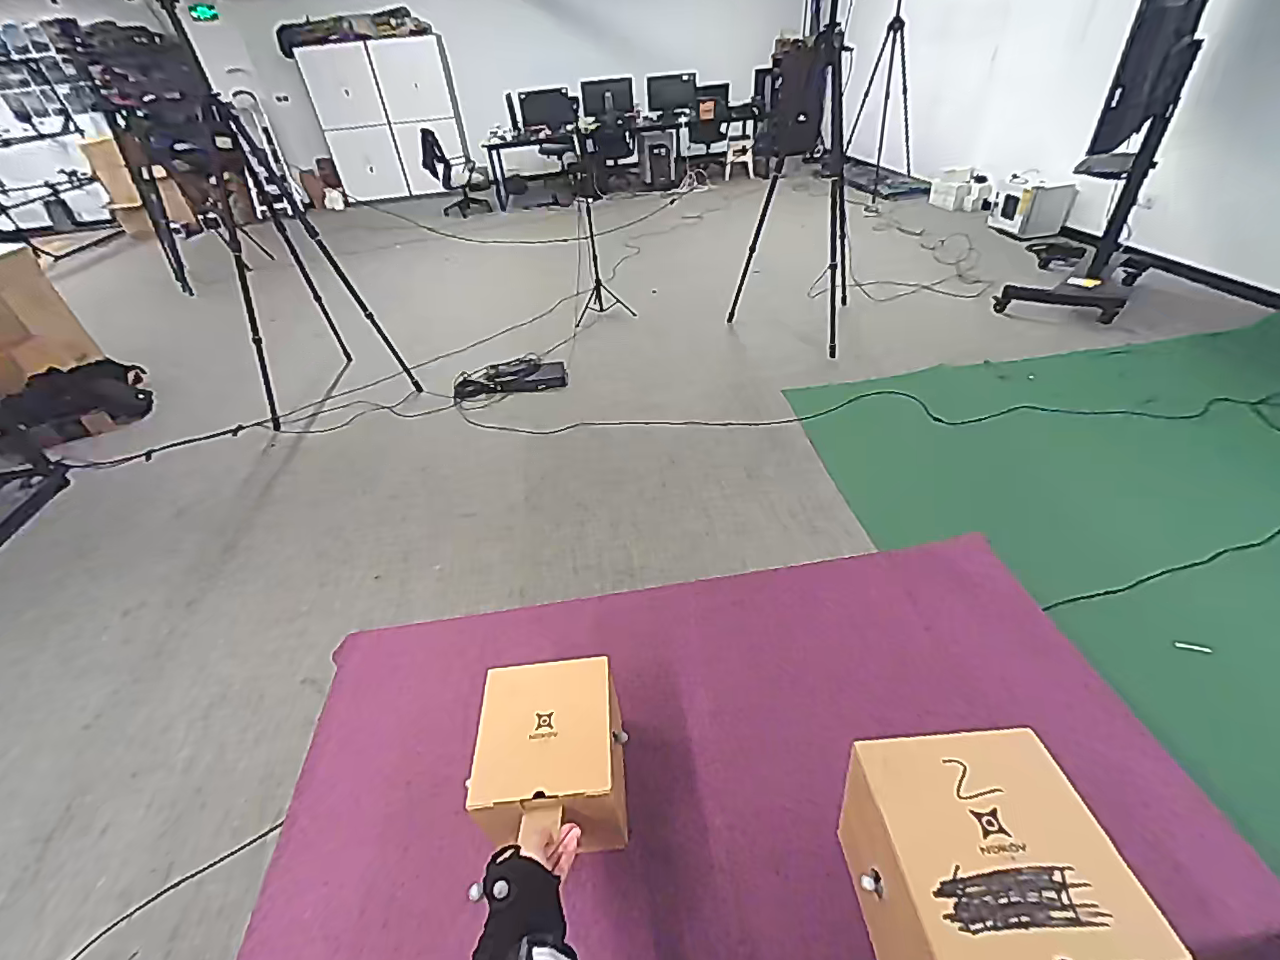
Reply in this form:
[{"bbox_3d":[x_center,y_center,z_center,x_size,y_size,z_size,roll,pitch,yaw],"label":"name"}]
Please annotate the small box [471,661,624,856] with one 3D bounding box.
[{"bbox_3d":[-0.112,0.374,0.731,0.168,0.176,0.179,-6,39,0],"label":"small box"}]
